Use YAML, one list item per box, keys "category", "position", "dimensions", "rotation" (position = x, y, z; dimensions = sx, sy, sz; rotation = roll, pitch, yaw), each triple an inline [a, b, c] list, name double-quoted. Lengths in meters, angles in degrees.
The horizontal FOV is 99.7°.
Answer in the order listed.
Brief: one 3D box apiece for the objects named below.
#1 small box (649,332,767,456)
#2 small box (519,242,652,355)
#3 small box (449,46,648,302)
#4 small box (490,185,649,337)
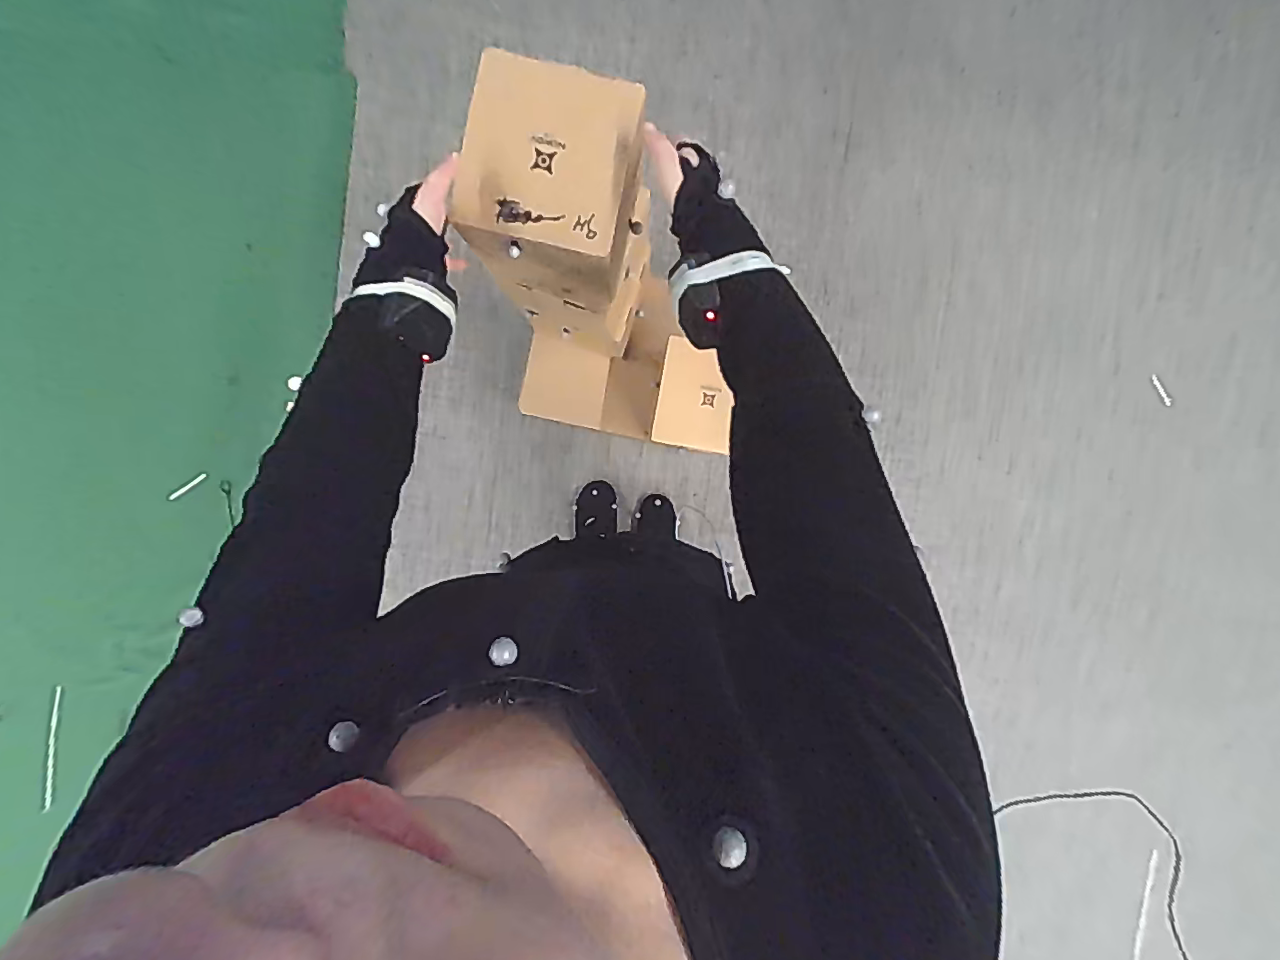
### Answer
- category: "small box"
  position: [0.111, -0.143, 0.955]
  dimensions: [0.168, 0.176, 0.179]
  rotation: [10, 93, -1]
- category: "small box"
  position: [-0.090, -0.331, 0.945]
  dimensions: [0.179, 0.176, 0.168]
  rotation: [18, 93, -2]
- category: "small box"
  position: [-0.092, -0.328, 0.615]
  dimensions: [0.168, 0.176, 0.179]
  rotation: [13, 91, 0]
- category: "small box"
  position: [-0.092, -0.327, 0.781]
  dimensions: [0.168, 0.176, 0.179]
  rotation: [20, 91, -1]
